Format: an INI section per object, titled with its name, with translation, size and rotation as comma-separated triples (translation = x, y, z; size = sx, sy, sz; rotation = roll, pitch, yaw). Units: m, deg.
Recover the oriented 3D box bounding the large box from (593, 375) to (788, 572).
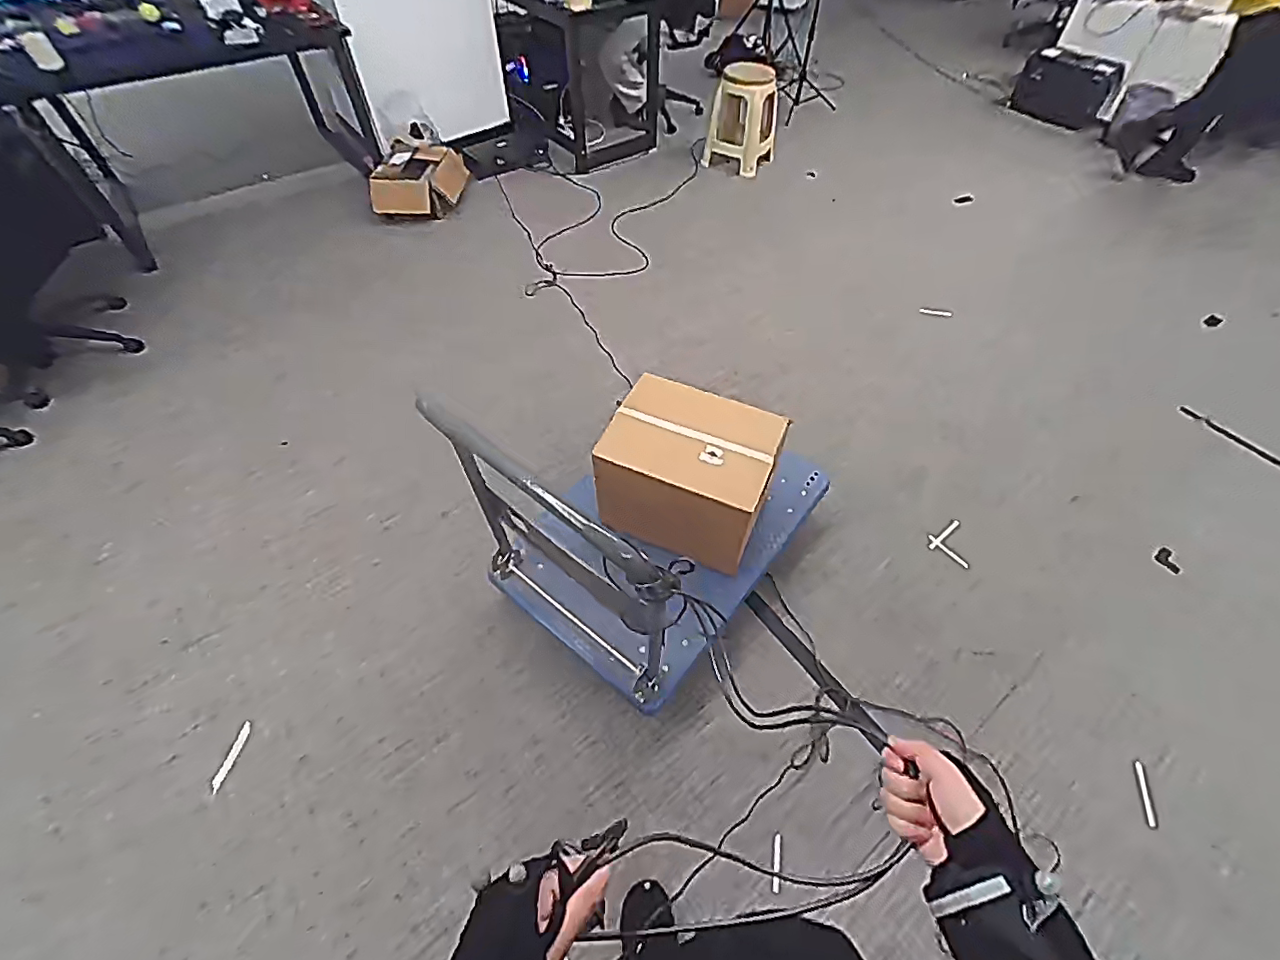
[large box]
translation = 0.124, -0.017, 1.423
size = 0.408, 0.320, 0.320
rotation = 21, 57, 13
